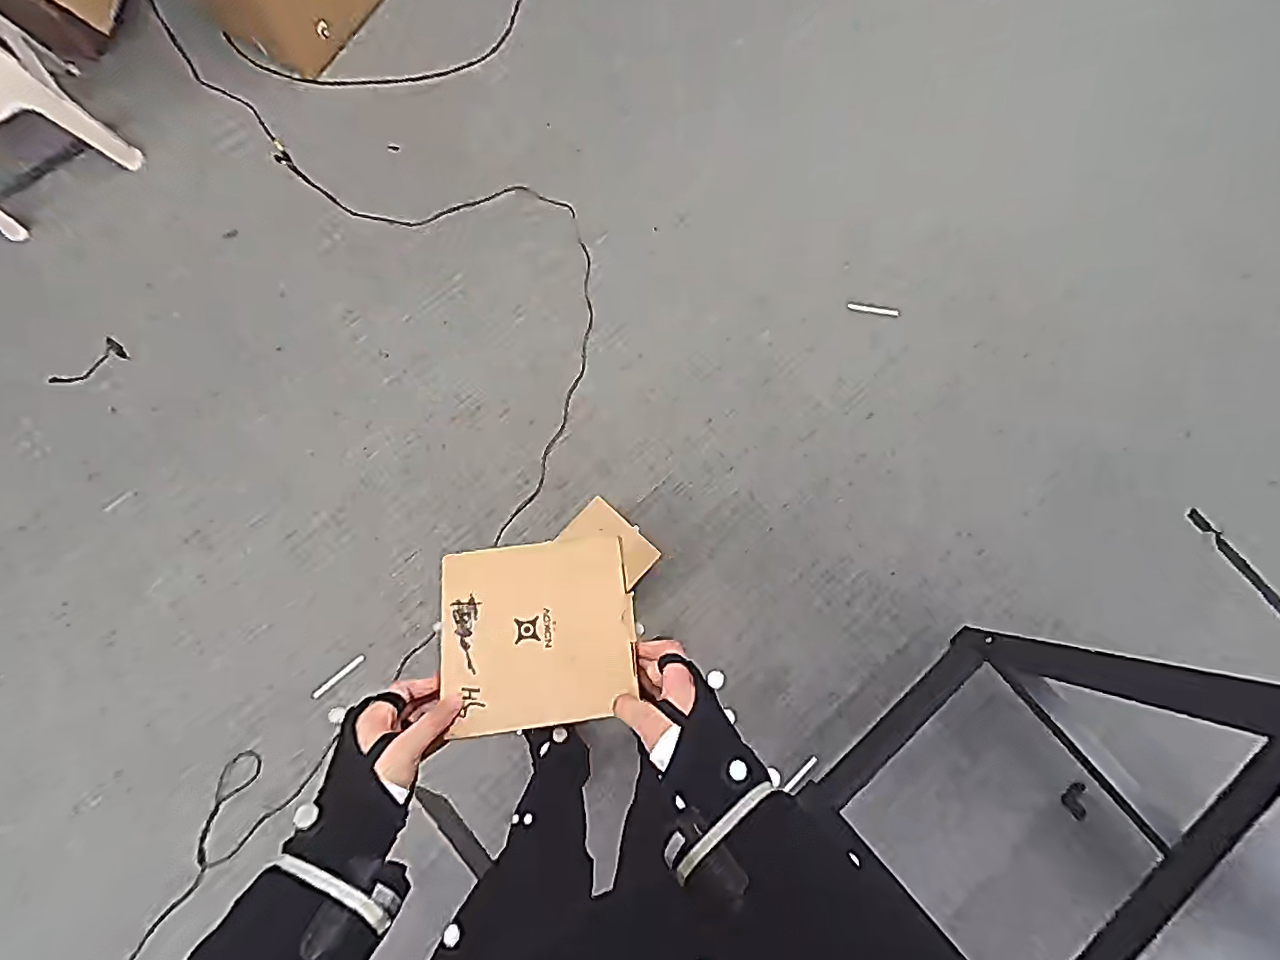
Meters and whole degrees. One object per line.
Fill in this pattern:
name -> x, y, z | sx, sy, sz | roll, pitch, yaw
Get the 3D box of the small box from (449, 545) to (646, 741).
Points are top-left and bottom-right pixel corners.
small box -> -0.094, 0.178, 0.582 | 0.179, 0.176, 0.168 | -5, 66, -6

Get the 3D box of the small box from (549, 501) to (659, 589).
small box -> -0.081, 0.168, 1.074 | 0.168, 0.176, 0.179 | 43, 81, 4
